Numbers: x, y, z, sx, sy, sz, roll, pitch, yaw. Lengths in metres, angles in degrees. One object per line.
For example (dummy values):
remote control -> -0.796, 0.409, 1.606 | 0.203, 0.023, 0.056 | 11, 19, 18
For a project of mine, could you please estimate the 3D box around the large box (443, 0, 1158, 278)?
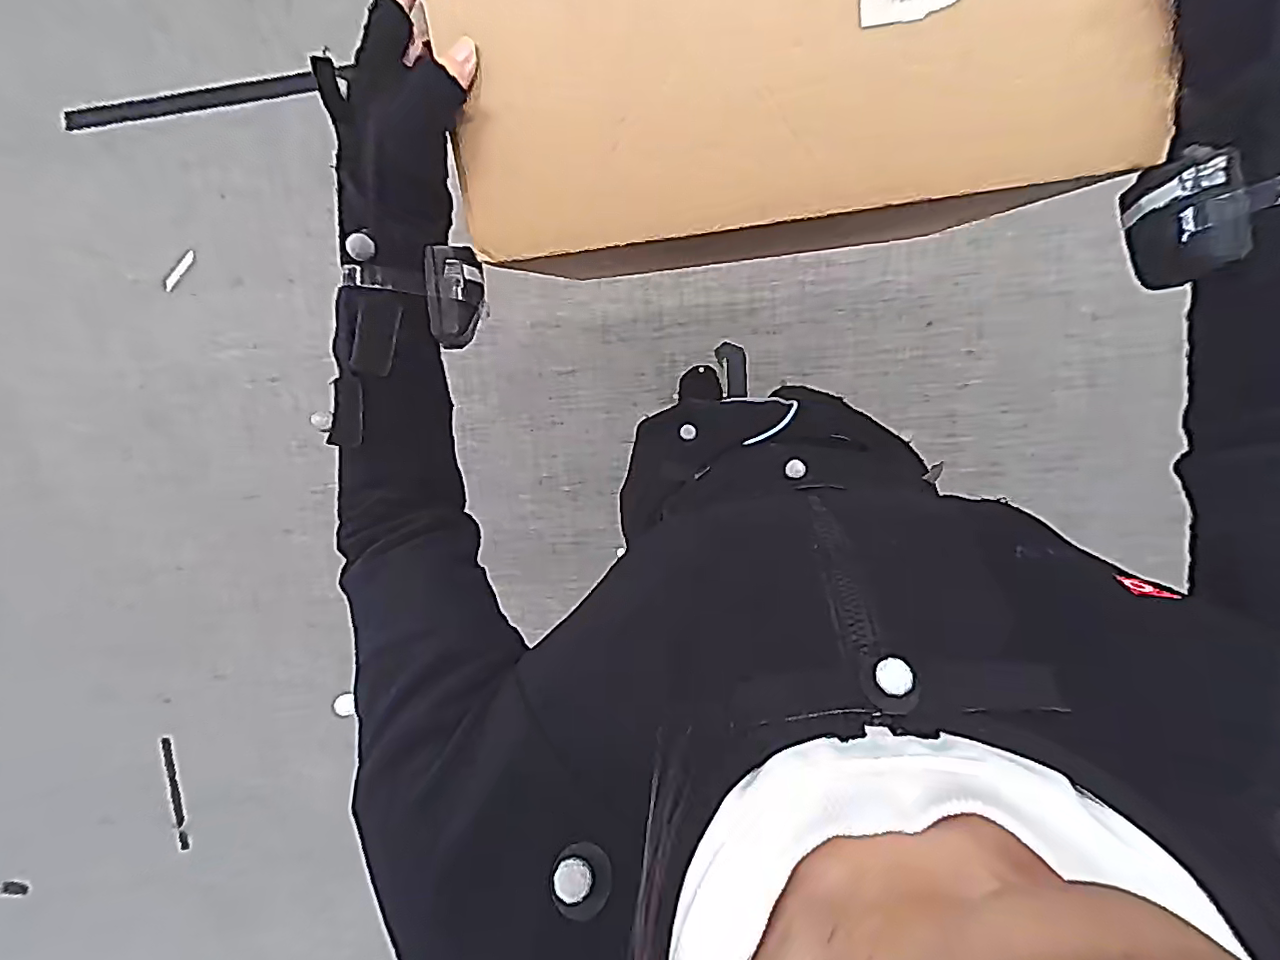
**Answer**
large box -> 0.087, -0.362, 0.437 | 0.408, 0.320, 0.320 | -6, 108, 7
